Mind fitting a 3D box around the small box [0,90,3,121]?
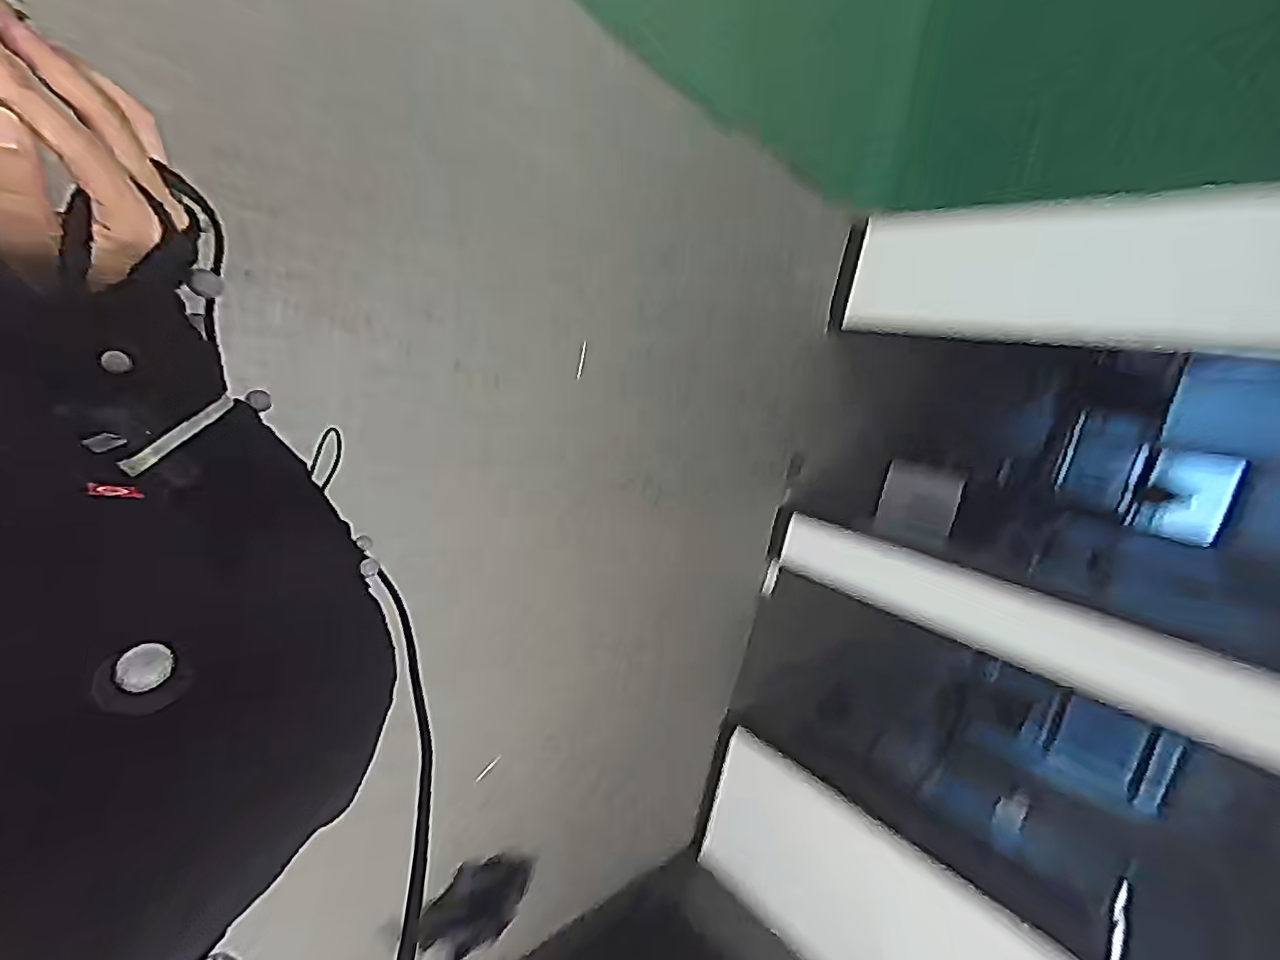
[{"bbox_3d":[-0.362,-0.229,0.185,0.168,0.176,0.179,-10,126,-44],"label":"small box"}]
